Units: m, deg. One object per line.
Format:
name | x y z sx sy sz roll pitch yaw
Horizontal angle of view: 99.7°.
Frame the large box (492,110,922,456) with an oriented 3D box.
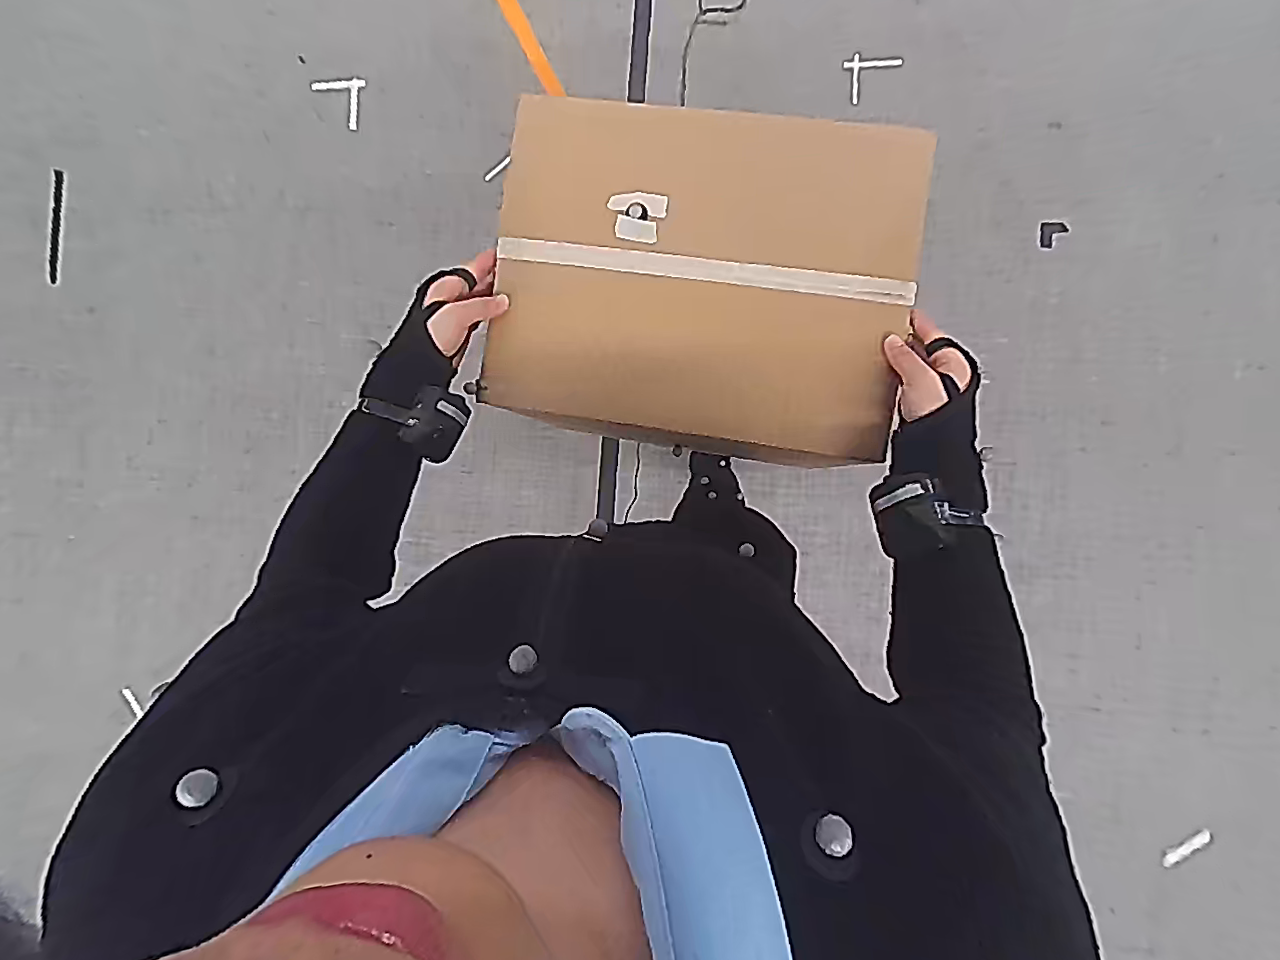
large box | 0.076 -0.208 0.689 0.408 0.320 0.320 8 90 6
